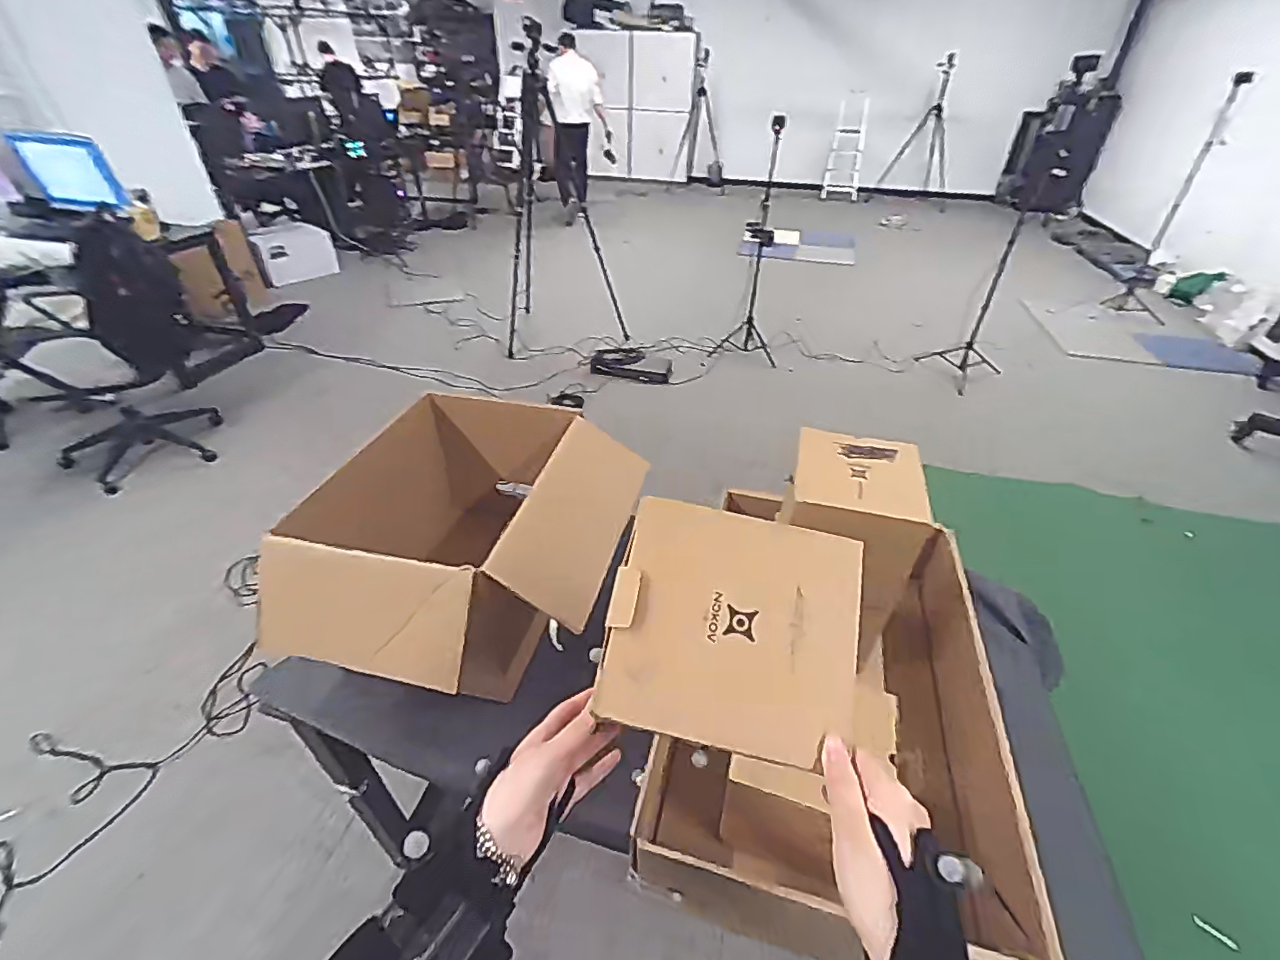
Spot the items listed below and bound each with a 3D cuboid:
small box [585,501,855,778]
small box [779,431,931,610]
[{"bbox_3d":[0.061,0.136,0.461,0.179,0.176,0.168,12,68,2],"label":"small box"},{"bbox_3d":[0.295,0.055,0.781,0.168,0.176,0.179,10,40,12],"label":"small box"}]
